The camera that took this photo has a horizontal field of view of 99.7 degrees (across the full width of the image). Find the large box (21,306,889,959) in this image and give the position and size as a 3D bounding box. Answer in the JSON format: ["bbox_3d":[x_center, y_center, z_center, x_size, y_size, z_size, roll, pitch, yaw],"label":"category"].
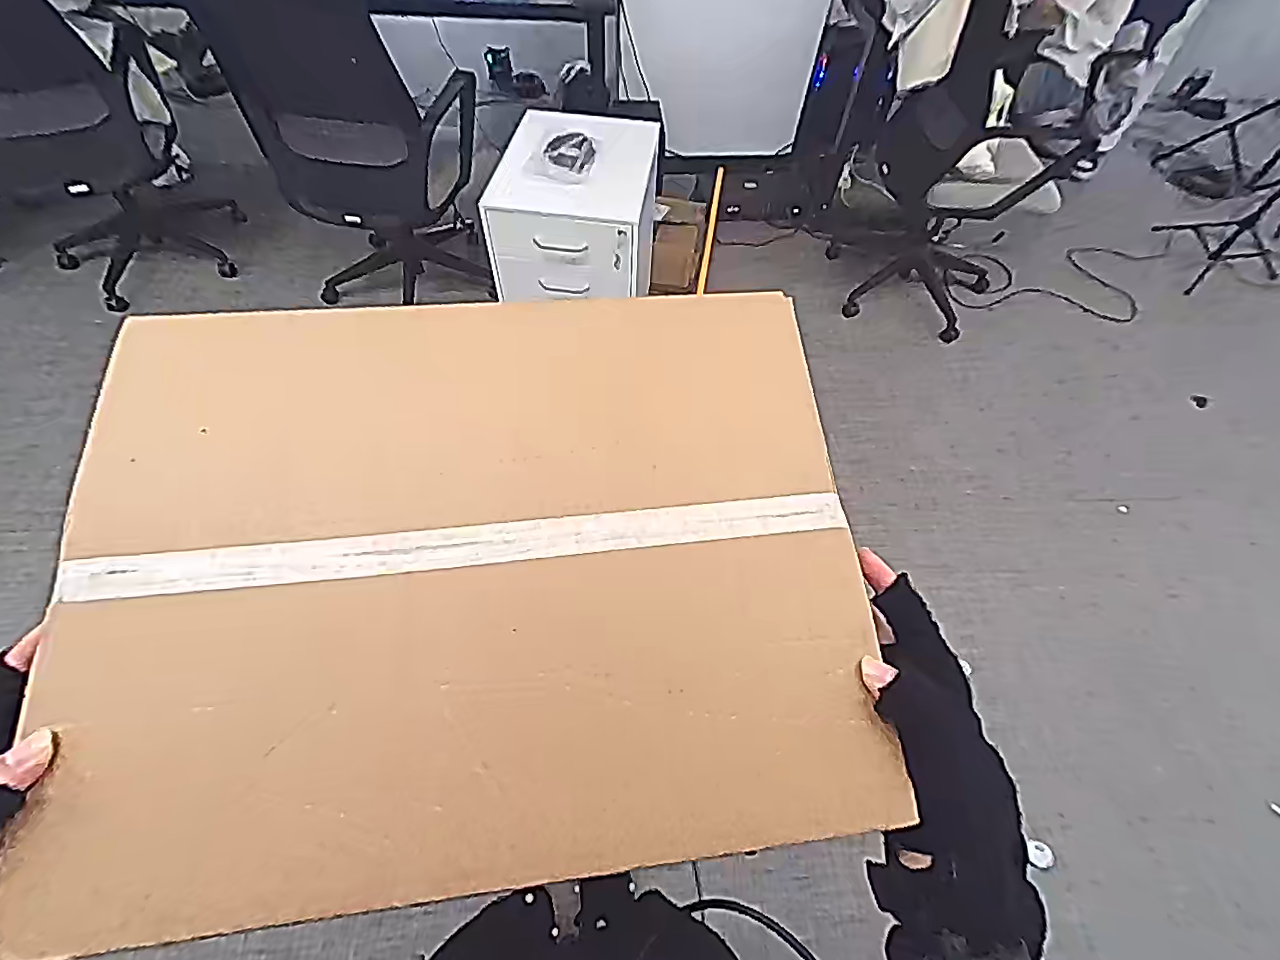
[{"bbox_3d":[-0.096,0.092,0.438,0.408,0.320,0.320,-5,70,-6],"label":"large box"}]
